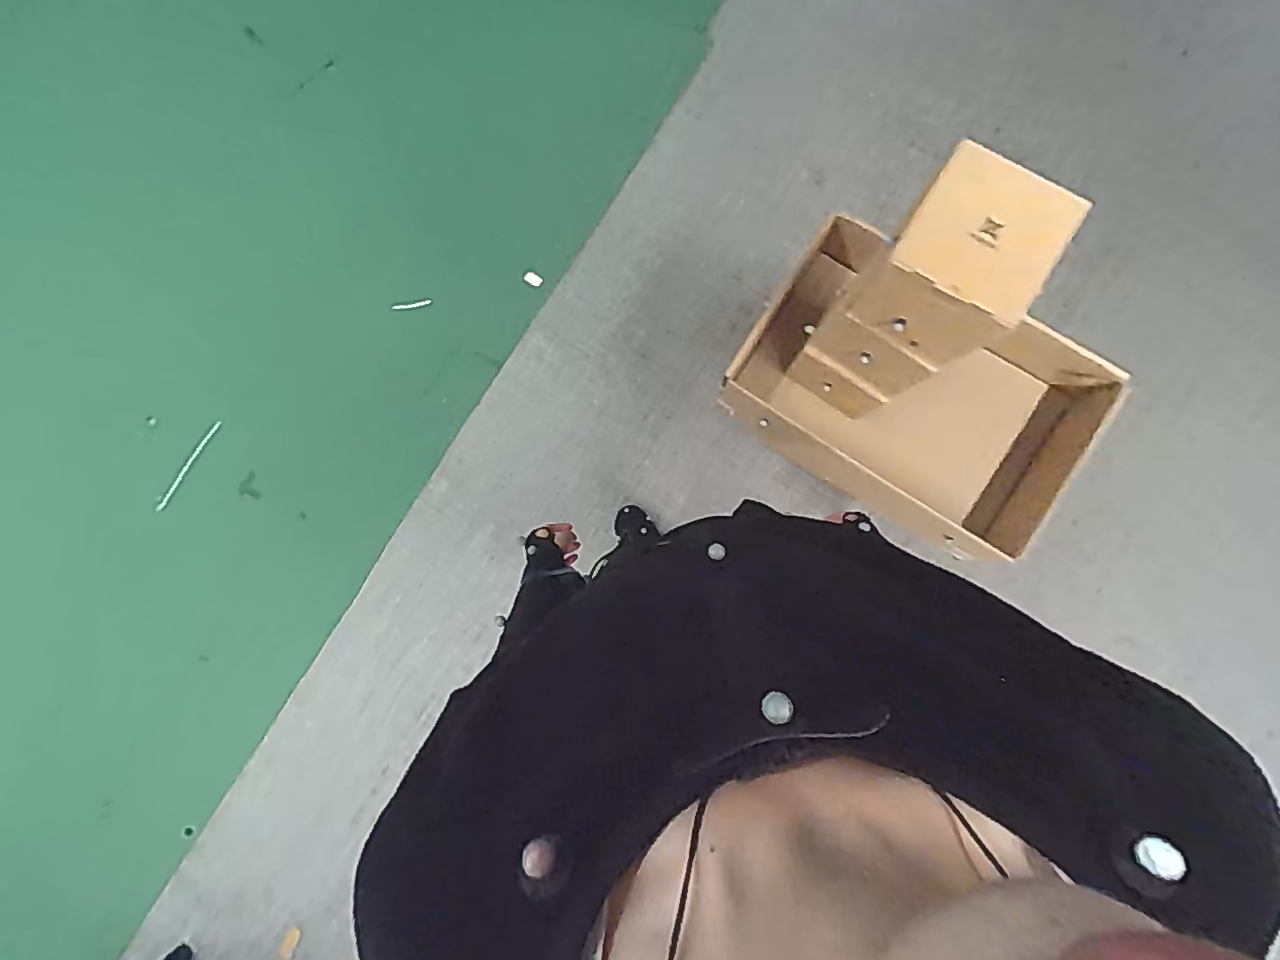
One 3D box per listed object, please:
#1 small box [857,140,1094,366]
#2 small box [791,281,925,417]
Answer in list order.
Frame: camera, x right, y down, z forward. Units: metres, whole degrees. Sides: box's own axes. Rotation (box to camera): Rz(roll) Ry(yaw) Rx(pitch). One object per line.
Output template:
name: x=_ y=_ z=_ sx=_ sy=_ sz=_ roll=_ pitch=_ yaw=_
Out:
small box: x=0.413 y=-0.279 z=0.702 sx=0.168 sy=0.176 sz=0.179 roll=32 pitch=88 yaw=6
small box: x=0.417 y=-0.235 z=1.026 sx=0.179 sy=0.176 sz=0.168 roll=35 pitch=88 yaw=6
